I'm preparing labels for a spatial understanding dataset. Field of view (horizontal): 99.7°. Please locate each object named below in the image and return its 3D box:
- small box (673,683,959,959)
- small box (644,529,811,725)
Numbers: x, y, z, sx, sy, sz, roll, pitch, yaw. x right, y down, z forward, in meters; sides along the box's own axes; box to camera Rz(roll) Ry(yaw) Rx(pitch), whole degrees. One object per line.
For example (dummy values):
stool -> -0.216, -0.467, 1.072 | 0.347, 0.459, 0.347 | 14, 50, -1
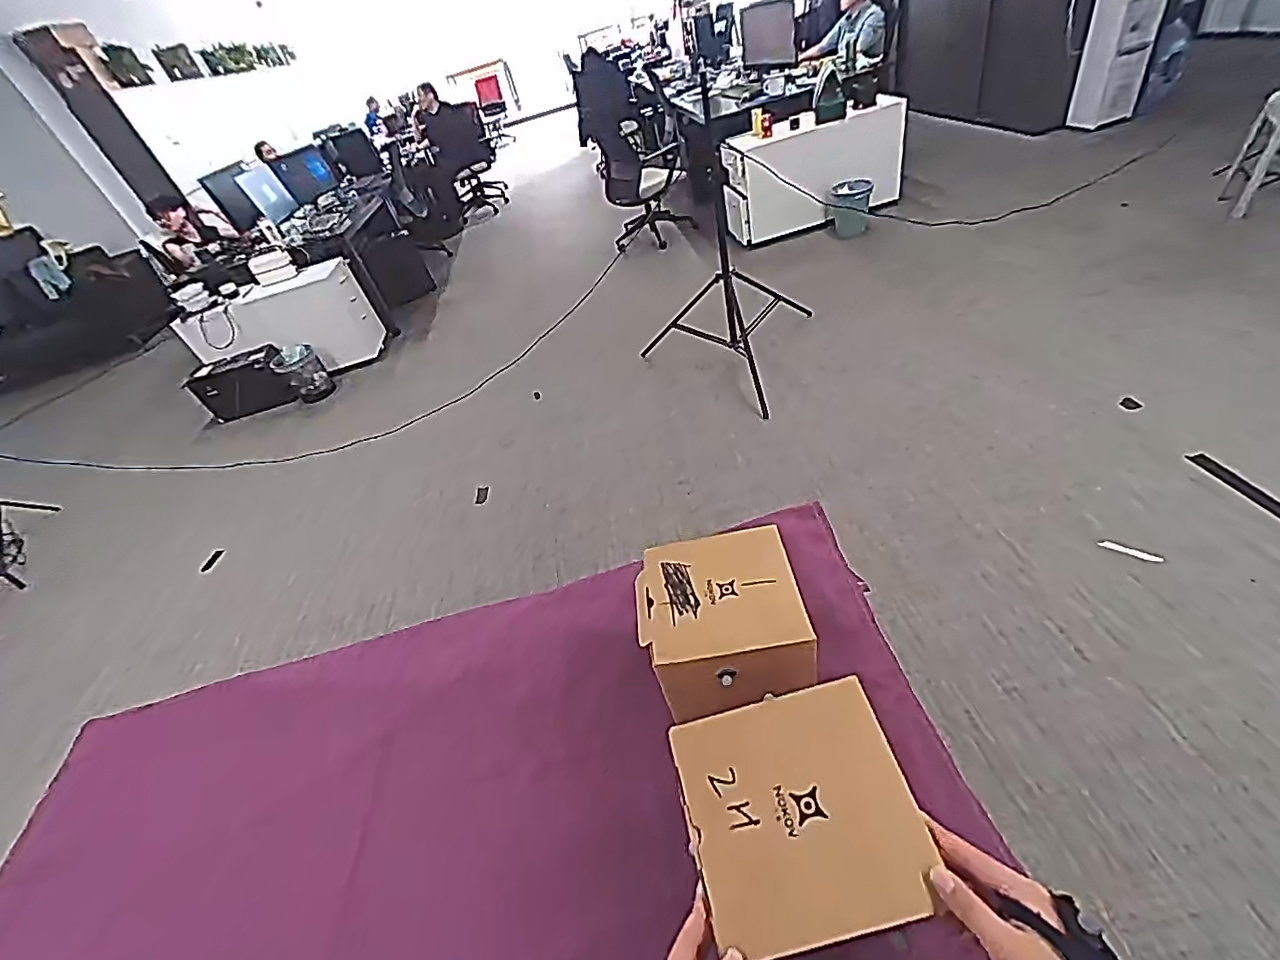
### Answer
small box -> 0.141, 0.308, 0.490 | 0.179, 0.176, 0.168 | -16, 51, 2
small box -> 0.110, 0.191, 0.687 | 0.179, 0.176, 0.168 | -11, 43, 5
